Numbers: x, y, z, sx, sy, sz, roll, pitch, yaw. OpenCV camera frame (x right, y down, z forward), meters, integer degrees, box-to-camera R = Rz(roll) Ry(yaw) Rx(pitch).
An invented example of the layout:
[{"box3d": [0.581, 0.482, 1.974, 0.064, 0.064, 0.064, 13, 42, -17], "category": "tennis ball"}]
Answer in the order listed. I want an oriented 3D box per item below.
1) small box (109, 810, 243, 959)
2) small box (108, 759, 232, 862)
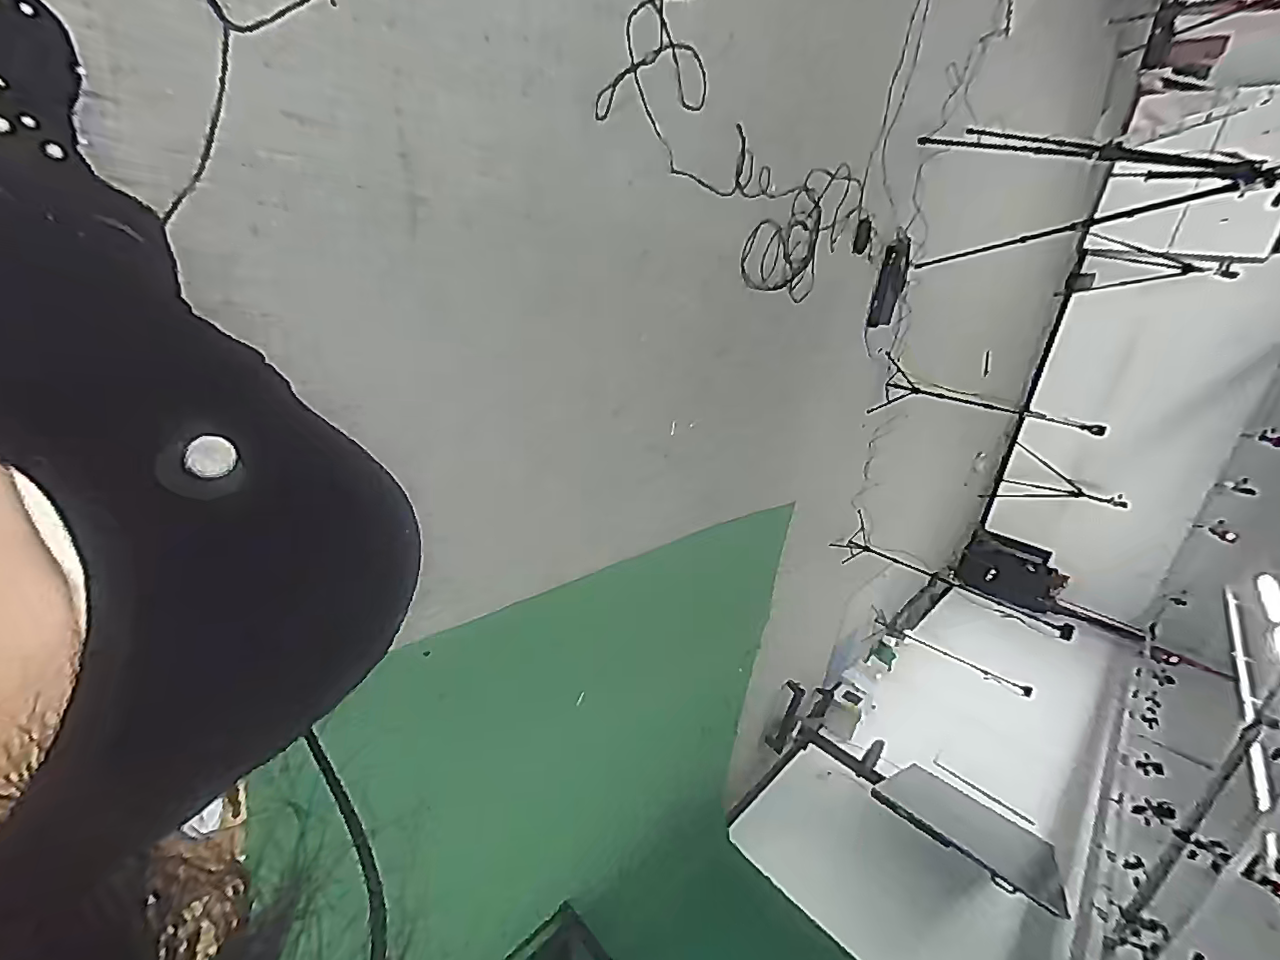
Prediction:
[{"box3d": [-0.903, 0.801, 1.053, 0.179, 0.176, 0.168, -11, 118, -44], "category": "small box"}, {"box3d": [-1.012, 0.748, 1.166, 0.179, 0.176, 0.168, -10, 116, -44], "category": "small box"}]
